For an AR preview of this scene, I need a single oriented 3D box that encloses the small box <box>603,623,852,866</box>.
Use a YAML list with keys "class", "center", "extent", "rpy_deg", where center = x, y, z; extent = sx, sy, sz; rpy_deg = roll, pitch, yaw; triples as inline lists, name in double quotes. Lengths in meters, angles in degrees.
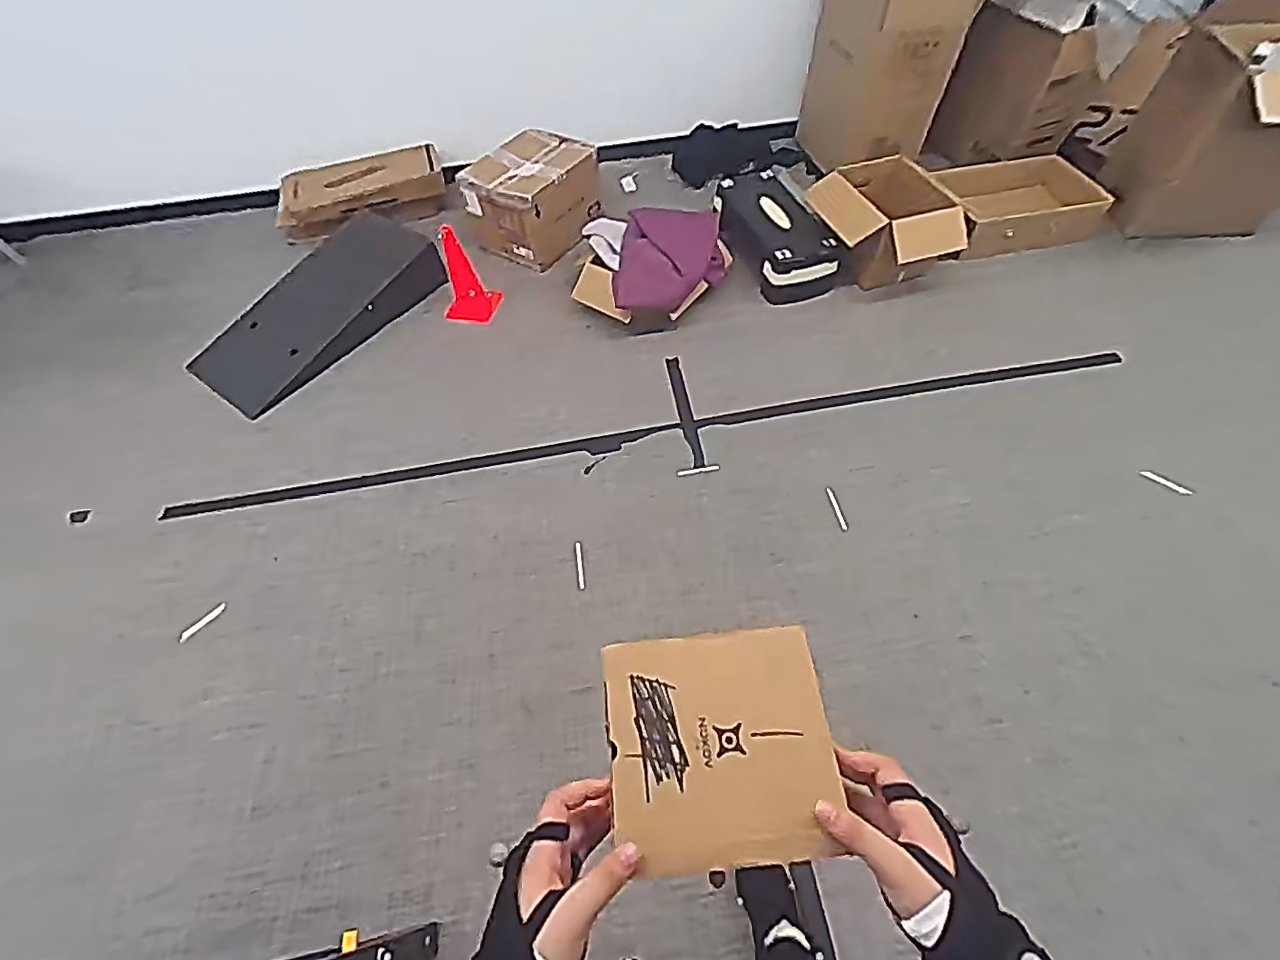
- class: "small box"
  center: [0.065, 0.242, 0.494]
  extent: [0.179, 0.176, 0.168]
  rpy_deg: [-5, 59, -1]
